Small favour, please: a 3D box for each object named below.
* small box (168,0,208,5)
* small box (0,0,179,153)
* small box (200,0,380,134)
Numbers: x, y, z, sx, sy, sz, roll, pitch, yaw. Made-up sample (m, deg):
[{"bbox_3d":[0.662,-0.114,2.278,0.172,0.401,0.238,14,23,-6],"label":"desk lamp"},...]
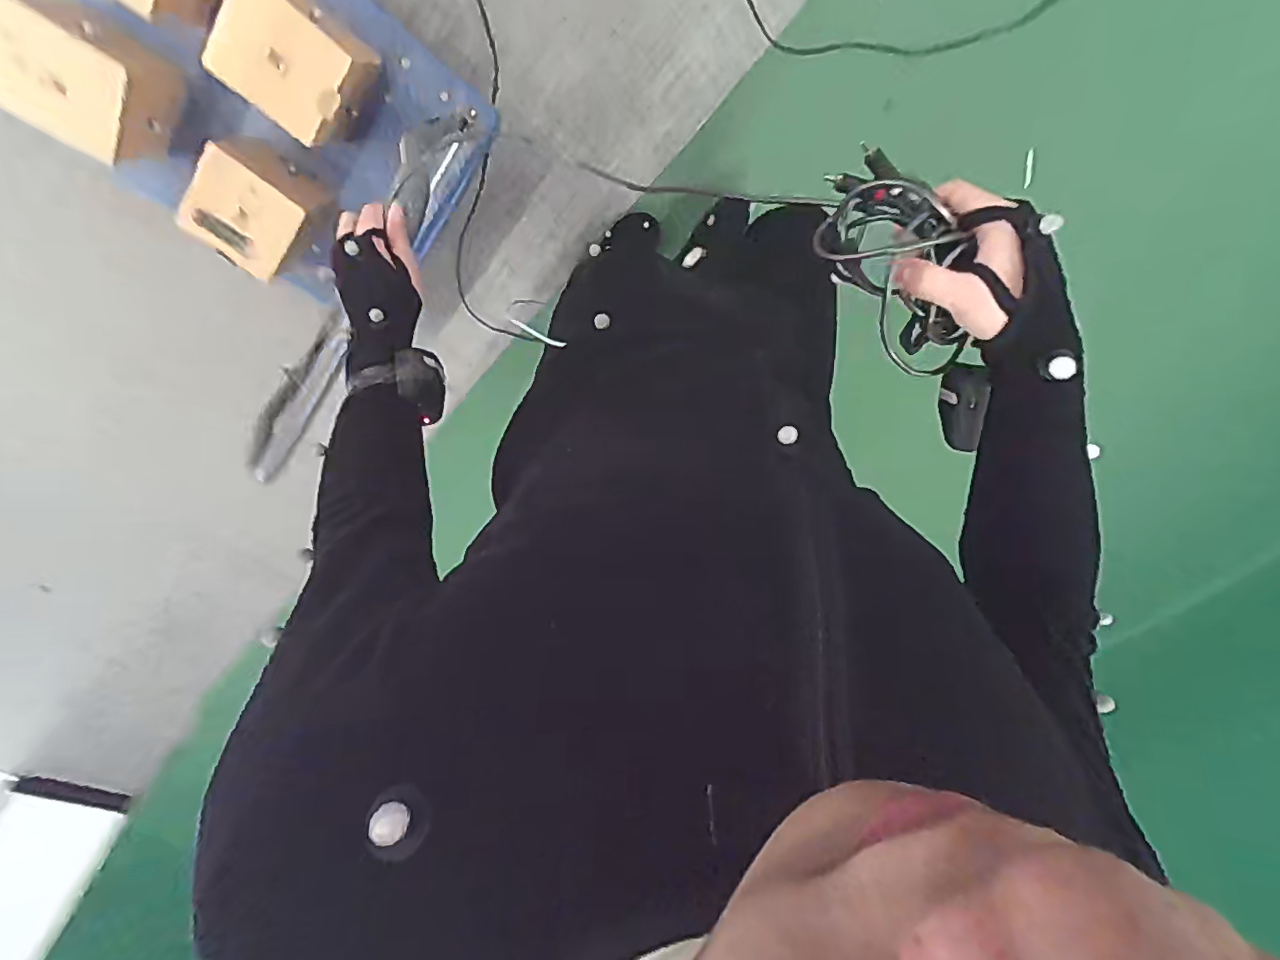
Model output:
[{"bbox_3d":[-0.764,-0.856,0.804,0.179,0.176,0.168,31,119,-27],"label":"small box"},{"bbox_3d":[-0.929,-0.693,0.907,0.179,0.176,0.168,29,118,-25],"label":"small box"},{"bbox_3d":[-0.583,-0.732,0.921,0.179,0.176,0.168,34,116,-28],"label":"small box"}]
